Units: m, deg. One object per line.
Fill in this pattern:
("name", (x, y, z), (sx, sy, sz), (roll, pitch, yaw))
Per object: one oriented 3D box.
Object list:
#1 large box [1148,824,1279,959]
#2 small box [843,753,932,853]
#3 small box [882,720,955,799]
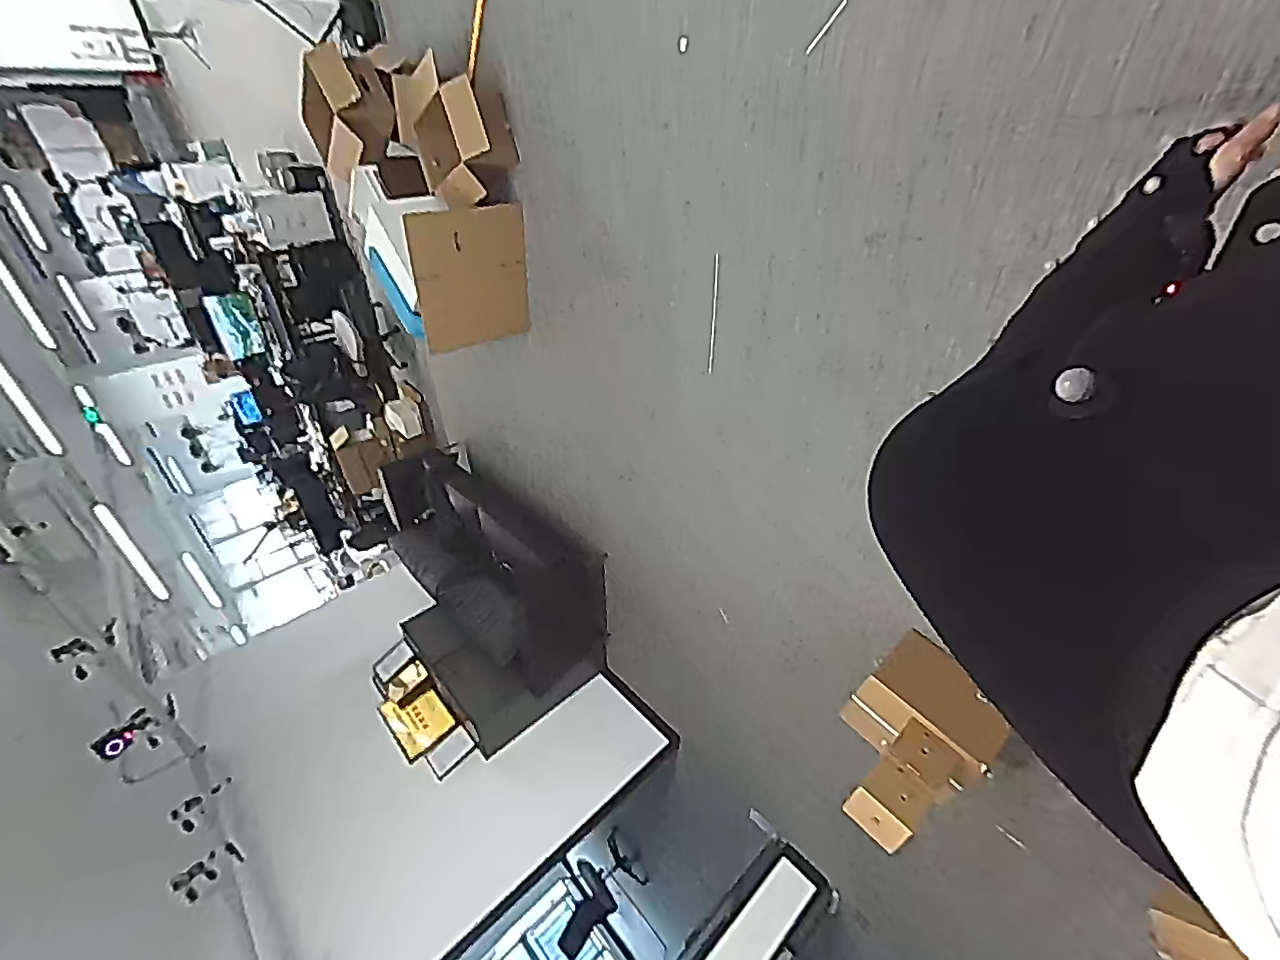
("large box", (1.622, 1.186, 1.381), (0.408, 0.320, 0.320), (-9, 107, 53))
("small box", (0.752, 0.972, 1.639), (0.168, 0.176, 0.179), (36, 138, 32))
("small box", (0.873, 0.912, 1.730), (0.168, 0.176, 0.179), (37, 137, 33))
